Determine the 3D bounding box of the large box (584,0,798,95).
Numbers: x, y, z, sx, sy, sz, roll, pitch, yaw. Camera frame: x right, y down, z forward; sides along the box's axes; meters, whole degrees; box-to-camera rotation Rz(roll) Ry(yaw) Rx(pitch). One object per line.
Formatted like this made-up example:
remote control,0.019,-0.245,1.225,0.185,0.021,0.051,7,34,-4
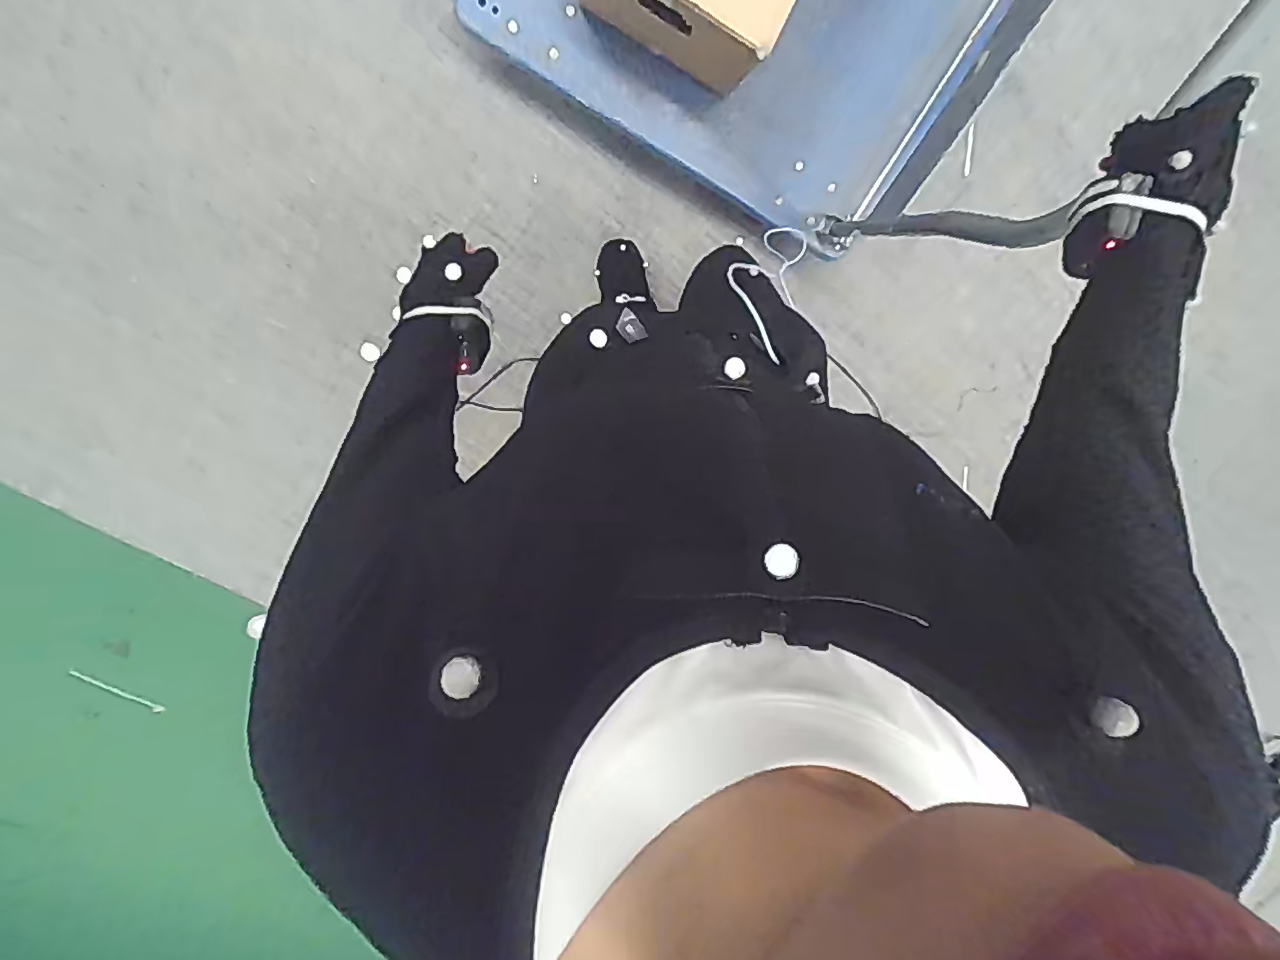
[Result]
large box,0.123,-0.871,0.776,0.320,0.320,0.408,23,114,-11
